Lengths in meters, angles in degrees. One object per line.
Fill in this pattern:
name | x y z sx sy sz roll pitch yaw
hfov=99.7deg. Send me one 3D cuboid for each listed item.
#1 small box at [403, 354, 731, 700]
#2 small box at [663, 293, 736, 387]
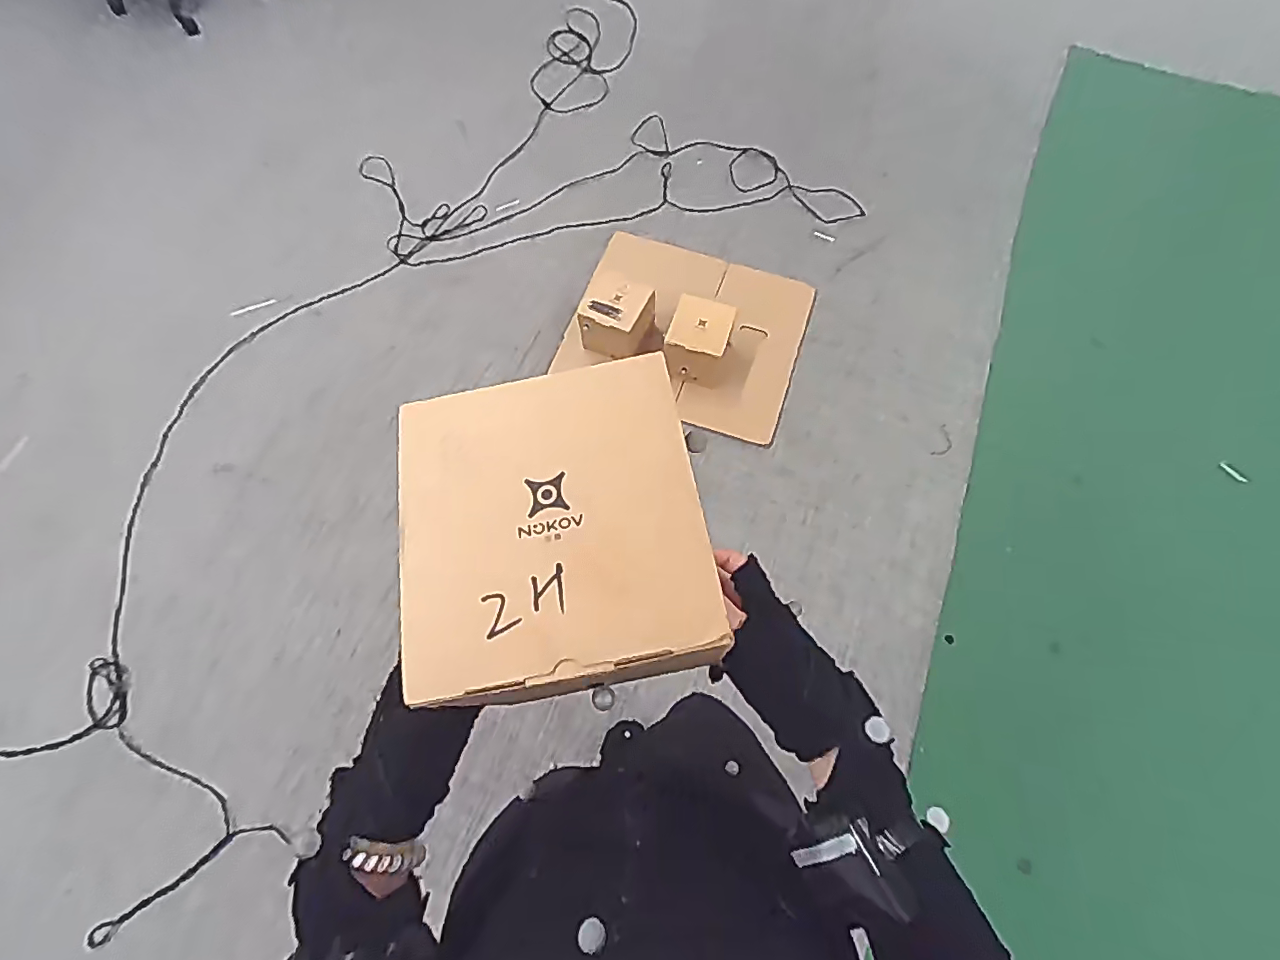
small box | -0.043 0.046 0.371 0.168 0.176 0.179 -12 68 1
small box | 0.167 -0.403 1.569 0.168 0.176 0.179 17 71 6
